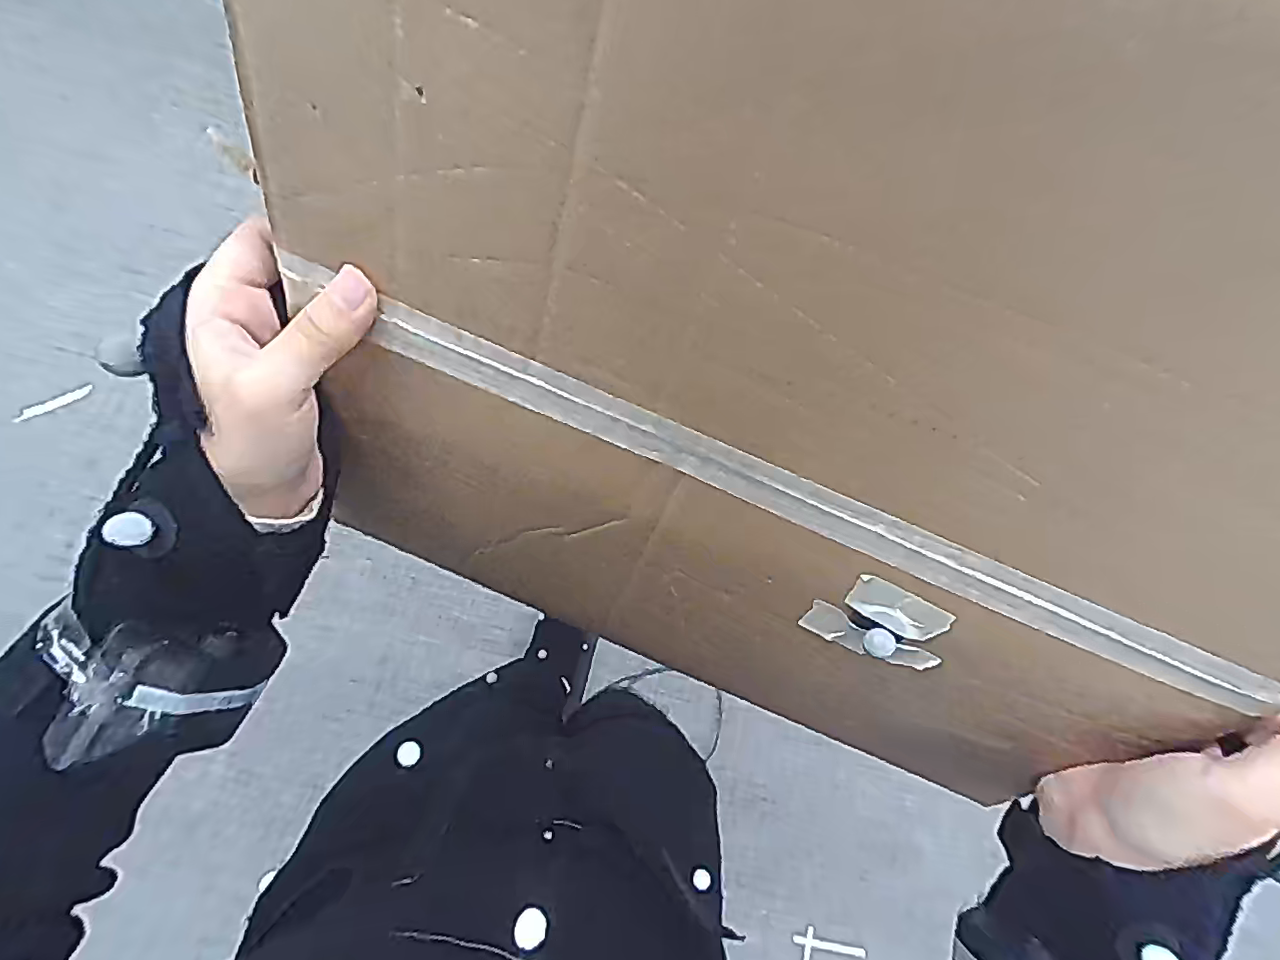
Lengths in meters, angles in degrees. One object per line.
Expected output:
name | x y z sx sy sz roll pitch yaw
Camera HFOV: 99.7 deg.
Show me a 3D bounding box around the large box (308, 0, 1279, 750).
large box | 0.107 -0.120 0.305 0.408 0.320 0.320 23 45 0
